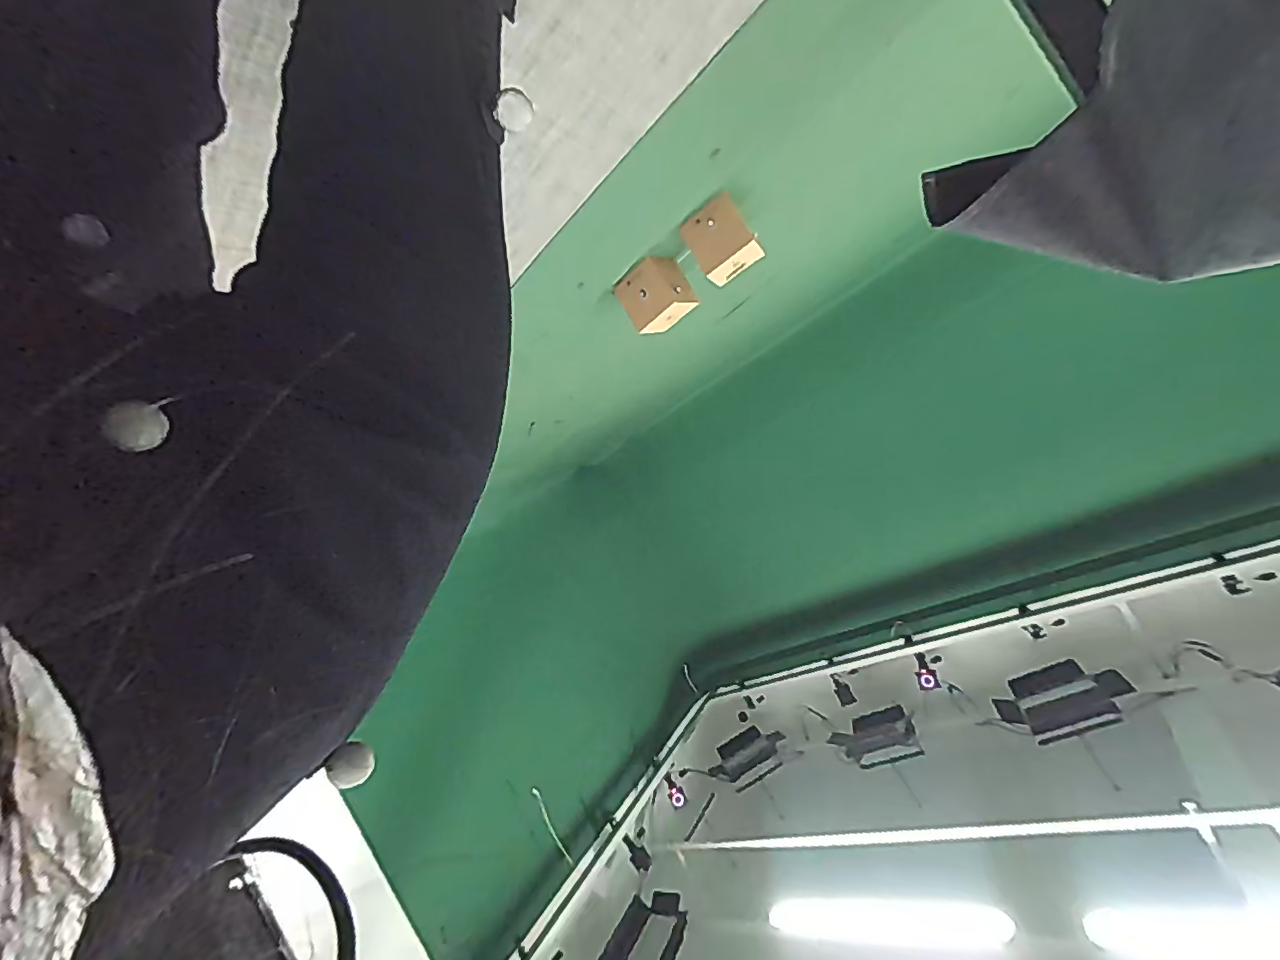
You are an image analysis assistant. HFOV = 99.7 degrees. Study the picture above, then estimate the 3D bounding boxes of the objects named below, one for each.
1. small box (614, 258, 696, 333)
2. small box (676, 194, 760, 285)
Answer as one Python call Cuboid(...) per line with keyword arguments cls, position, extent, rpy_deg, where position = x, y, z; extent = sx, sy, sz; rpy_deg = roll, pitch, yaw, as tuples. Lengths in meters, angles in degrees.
Cuboid(cls="small box", position=(0.045, -0.596, 1.748), extent=(0.168, 0.176, 0.179), rpy_deg=(-32, 178, 36))
Cuboid(cls="small box", position=(0.235, -0.716, 1.619), extent=(0.168, 0.176, 0.179), rpy_deg=(-33, 176, 23))
